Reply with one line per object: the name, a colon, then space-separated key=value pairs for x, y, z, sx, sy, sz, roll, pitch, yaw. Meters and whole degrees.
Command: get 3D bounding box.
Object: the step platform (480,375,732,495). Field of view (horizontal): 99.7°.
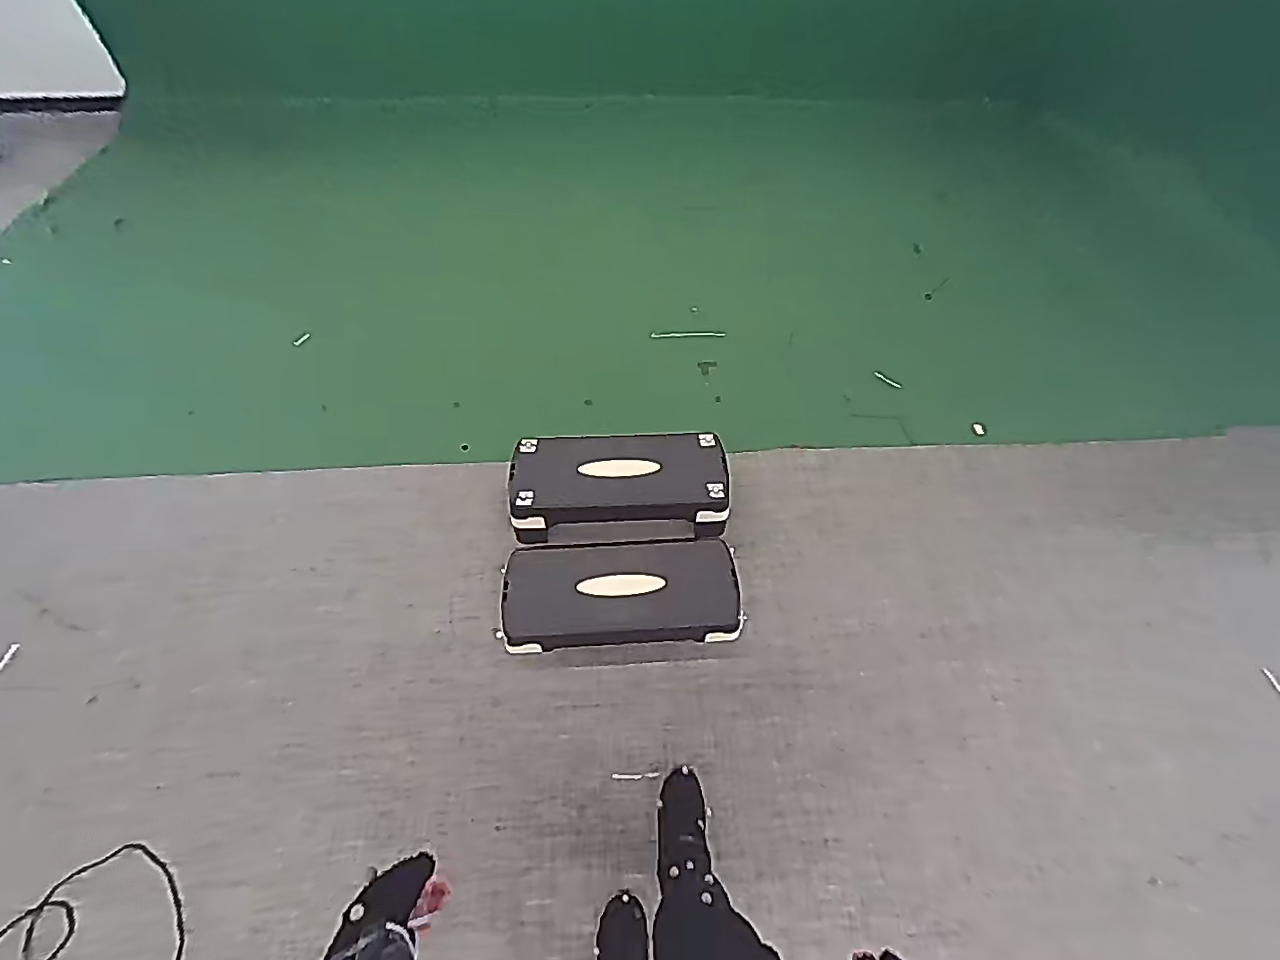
step platform: x=-0.091 y=-0.127 z=1.554 sx=0.684 sy=0.204 sz=0.286 roll=-2 pitch=54 yaw=-2
